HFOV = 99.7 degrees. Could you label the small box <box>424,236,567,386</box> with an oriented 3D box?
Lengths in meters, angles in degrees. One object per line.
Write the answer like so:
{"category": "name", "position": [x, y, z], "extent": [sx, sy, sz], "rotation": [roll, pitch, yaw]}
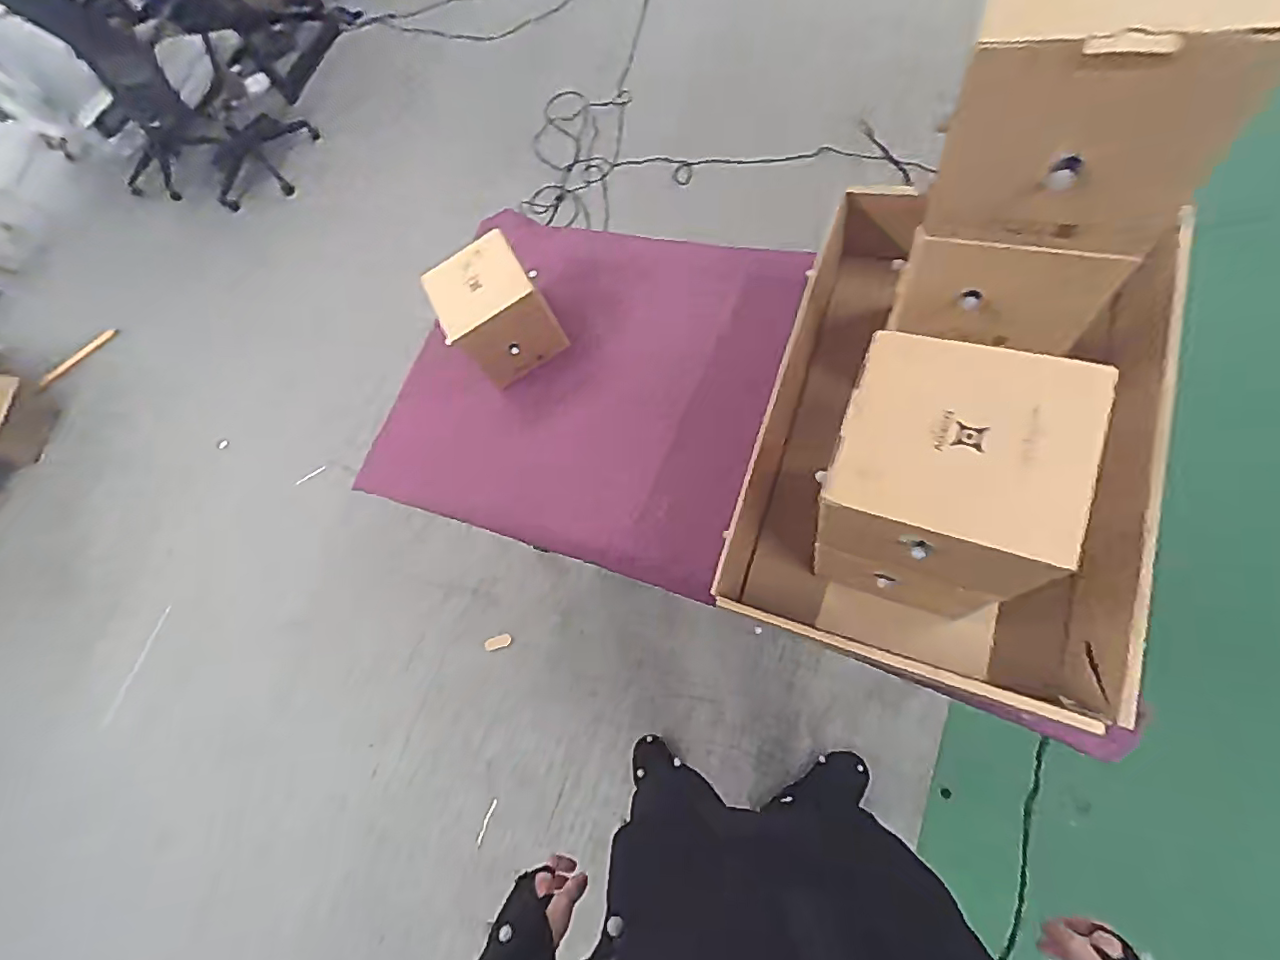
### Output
{"category": "small box", "position": [-0.258, -0.297, 0.995], "extent": [0.168, 0.176, 0.179], "rotation": [-30, 65, 2]}

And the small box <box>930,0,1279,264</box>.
{"category": "small box", "position": [0.337, -0.293, 0.408], "extent": [0.168, 0.176, 0.179], "rotation": [17, 77, 21]}

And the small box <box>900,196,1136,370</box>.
{"category": "small box", "position": [0.381, -0.236, 0.556], "extent": [0.168, 0.176, 0.179], "rotation": [17, 76, 22]}

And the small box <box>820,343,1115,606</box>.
{"category": "small box", "position": [0.274, 0.004, 0.494], "extent": [0.179, 0.176, 0.168], "rotation": [18, 76, 22]}
